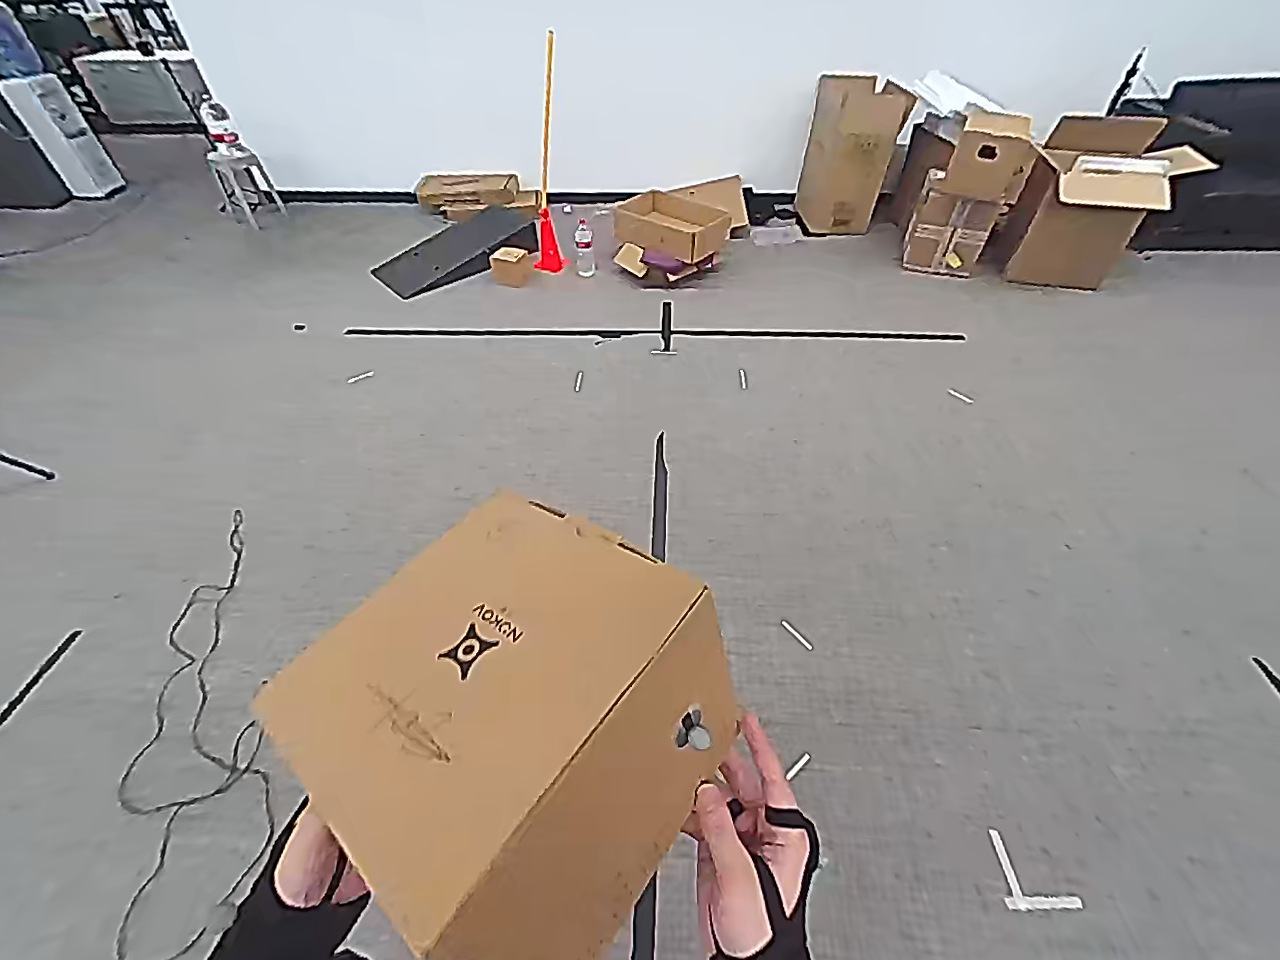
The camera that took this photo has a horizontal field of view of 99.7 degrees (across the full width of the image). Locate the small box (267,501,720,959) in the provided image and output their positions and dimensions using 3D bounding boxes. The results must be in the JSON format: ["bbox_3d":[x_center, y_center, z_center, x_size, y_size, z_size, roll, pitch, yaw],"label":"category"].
[{"bbox_3d":[-0.064,0.148,0.330,0.168,0.176,0.179,19,52,34],"label":"small box"}]
